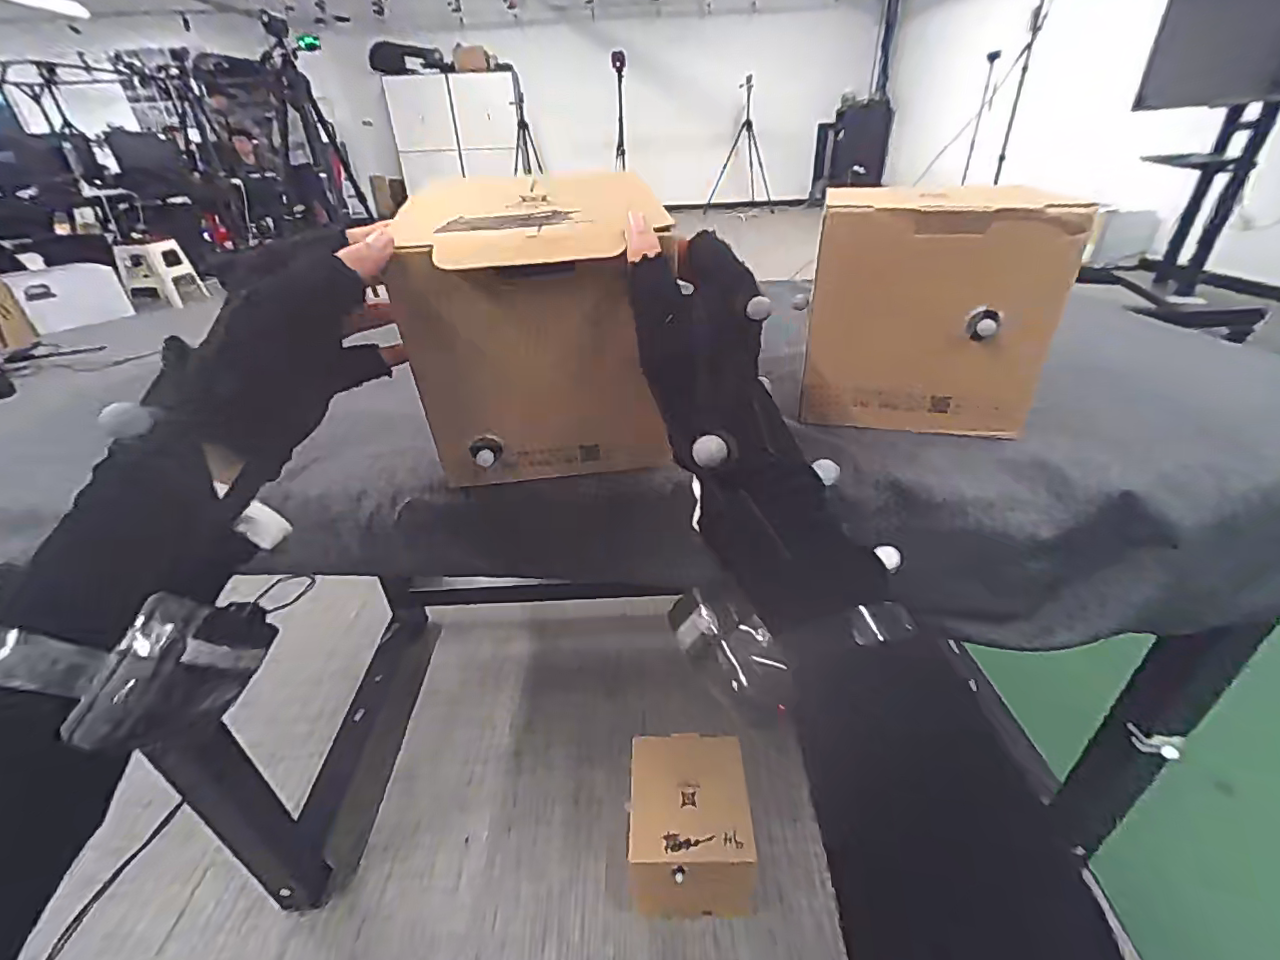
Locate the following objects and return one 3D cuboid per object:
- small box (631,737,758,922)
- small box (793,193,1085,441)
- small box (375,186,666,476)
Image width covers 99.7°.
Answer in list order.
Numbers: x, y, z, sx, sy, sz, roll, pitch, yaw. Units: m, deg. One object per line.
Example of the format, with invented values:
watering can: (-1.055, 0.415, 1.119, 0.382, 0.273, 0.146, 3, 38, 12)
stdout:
small box: (0.075, 0.510, 0.800, 0.168, 0.176, 0.179, -2, 30, 3)
small box: (0.228, -0.146, 0.466, 0.168, 0.176, 0.179, 7, 31, 14)
small box: (-0.072, -0.114, 0.415, 0.168, 0.176, 0.179, -5, 36, -5)
